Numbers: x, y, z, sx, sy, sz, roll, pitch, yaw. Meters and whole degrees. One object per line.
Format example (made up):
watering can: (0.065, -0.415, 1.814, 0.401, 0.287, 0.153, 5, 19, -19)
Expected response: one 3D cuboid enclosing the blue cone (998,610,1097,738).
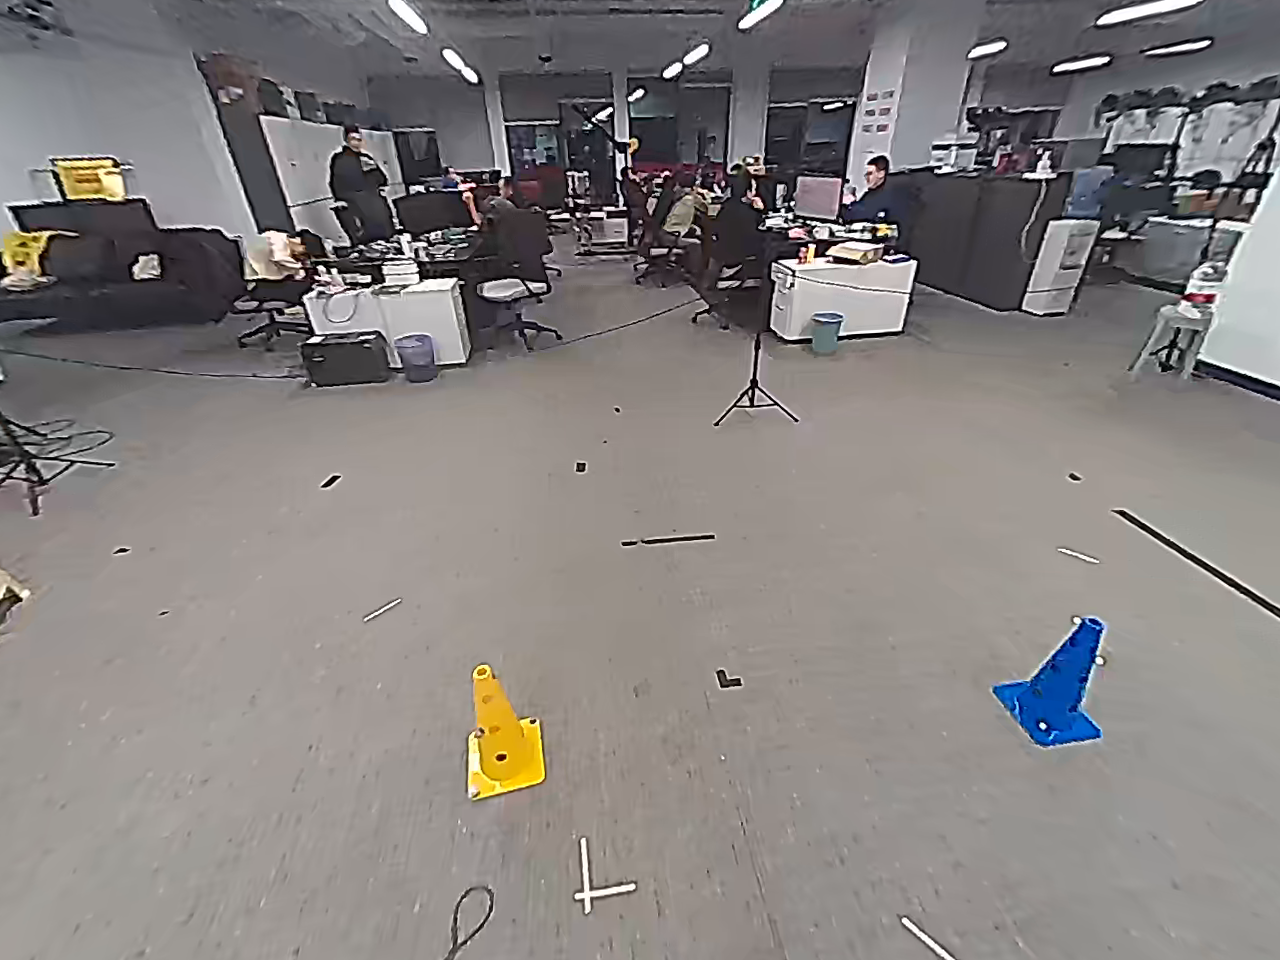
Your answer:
blue cone: (1.160, 0.510, 1.470, 0.193, 0.380, 0.192, -5, 30, -5)
